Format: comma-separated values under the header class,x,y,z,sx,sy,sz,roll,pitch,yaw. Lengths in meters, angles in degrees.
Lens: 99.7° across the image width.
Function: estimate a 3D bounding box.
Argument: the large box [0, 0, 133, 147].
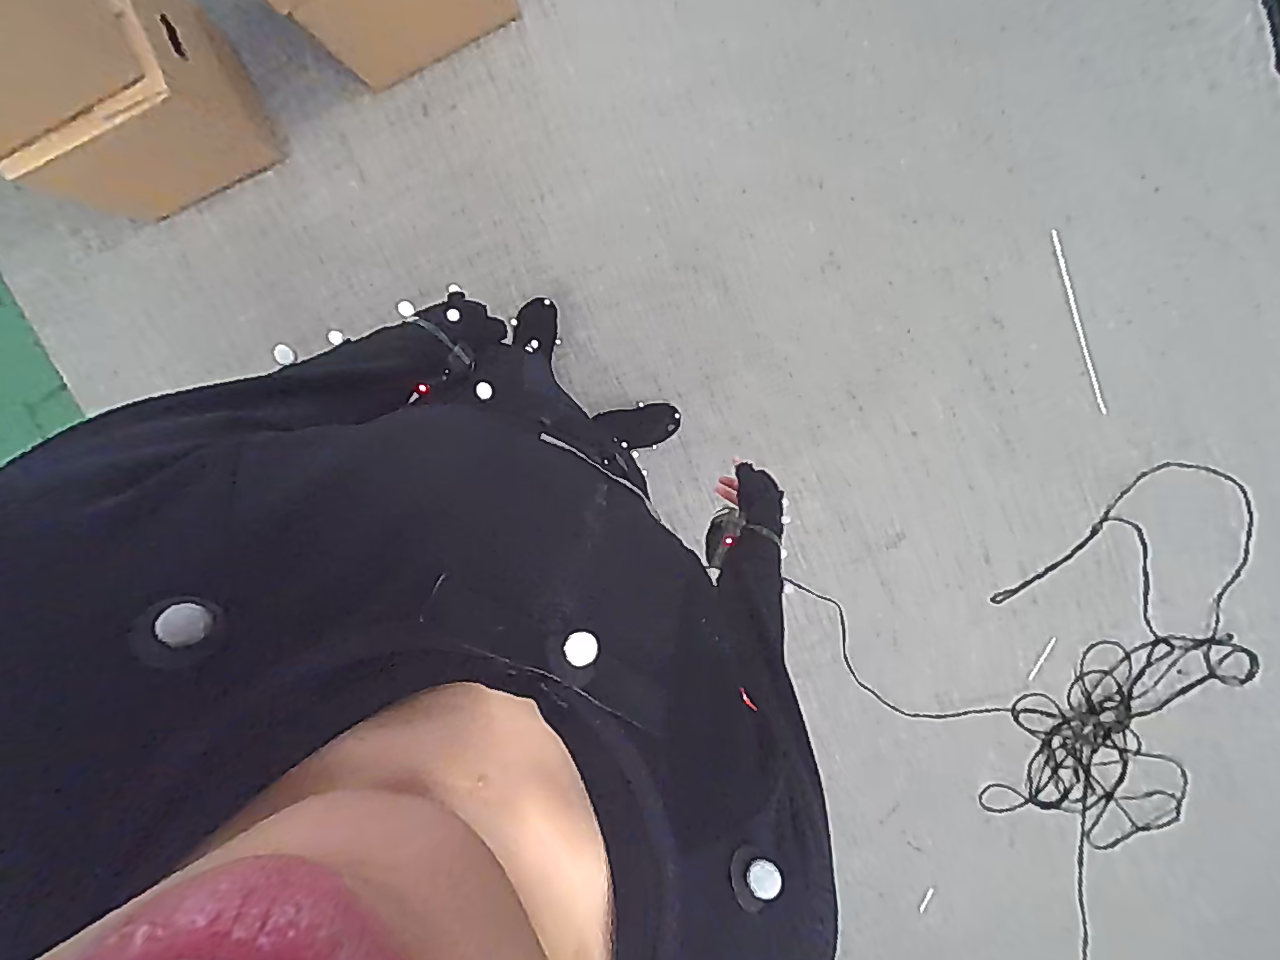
class,x,y,z,sx,sy,sz,roll,pitch,yaw
large box,-1.190,-0.808,0.872,0.408,0.320,0.320,-21,97,6
